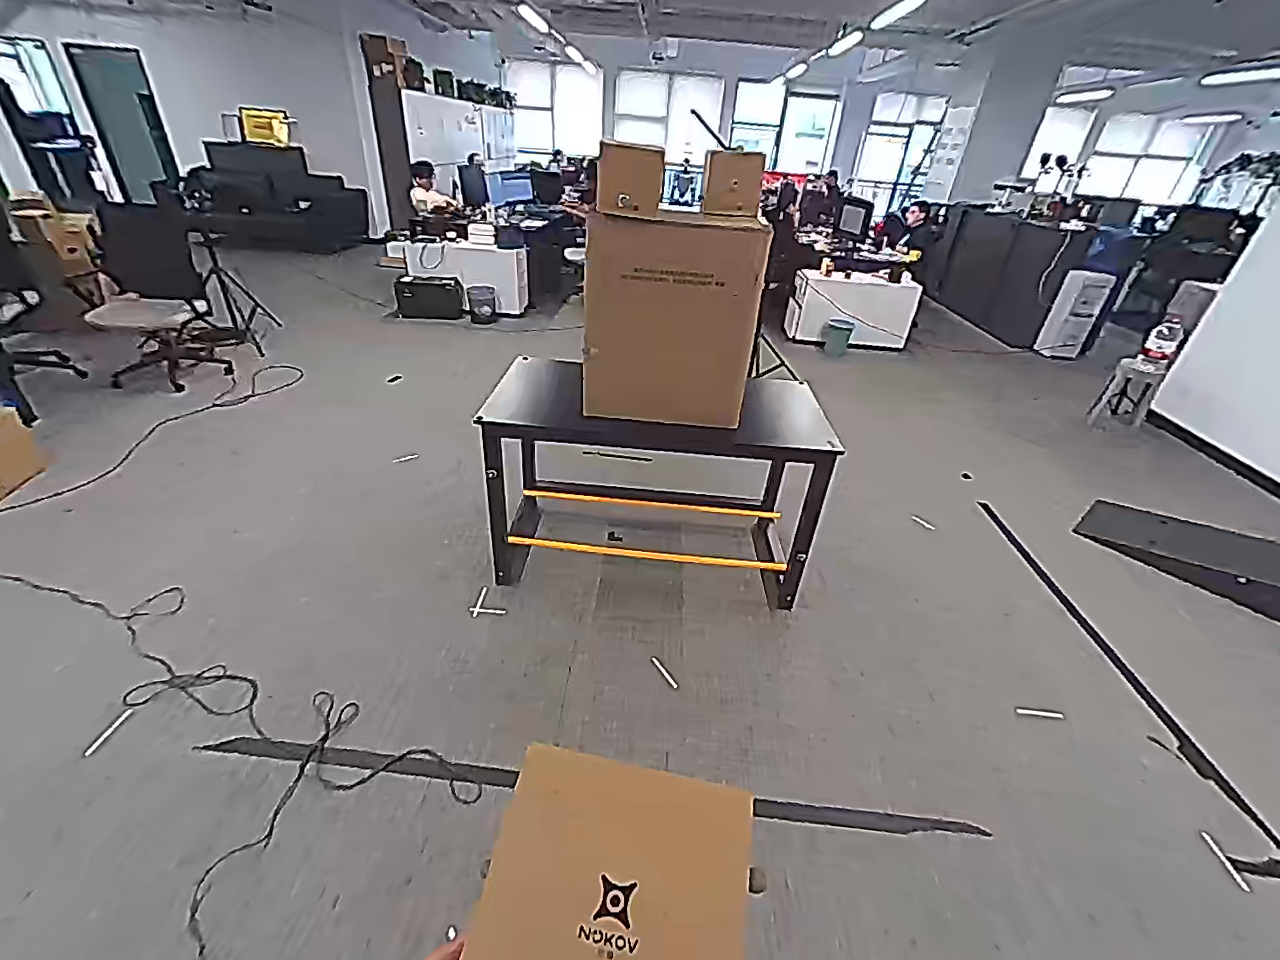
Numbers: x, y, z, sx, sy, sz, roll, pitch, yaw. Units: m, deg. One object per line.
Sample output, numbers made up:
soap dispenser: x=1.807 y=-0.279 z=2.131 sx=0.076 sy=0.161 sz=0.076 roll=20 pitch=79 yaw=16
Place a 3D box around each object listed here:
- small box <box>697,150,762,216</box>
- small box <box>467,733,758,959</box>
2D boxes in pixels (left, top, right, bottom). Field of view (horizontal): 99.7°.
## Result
small box: x=0.269 y=-0.915 z=1.663 sx=0.168 sy=0.176 sz=0.179 roll=2 pitch=31 yaw=-1
small box: x=-0.014 y=0.317 z=0.396 sx=0.168 sy=0.176 sz=0.179 roll=8 pitch=48 yaw=8
